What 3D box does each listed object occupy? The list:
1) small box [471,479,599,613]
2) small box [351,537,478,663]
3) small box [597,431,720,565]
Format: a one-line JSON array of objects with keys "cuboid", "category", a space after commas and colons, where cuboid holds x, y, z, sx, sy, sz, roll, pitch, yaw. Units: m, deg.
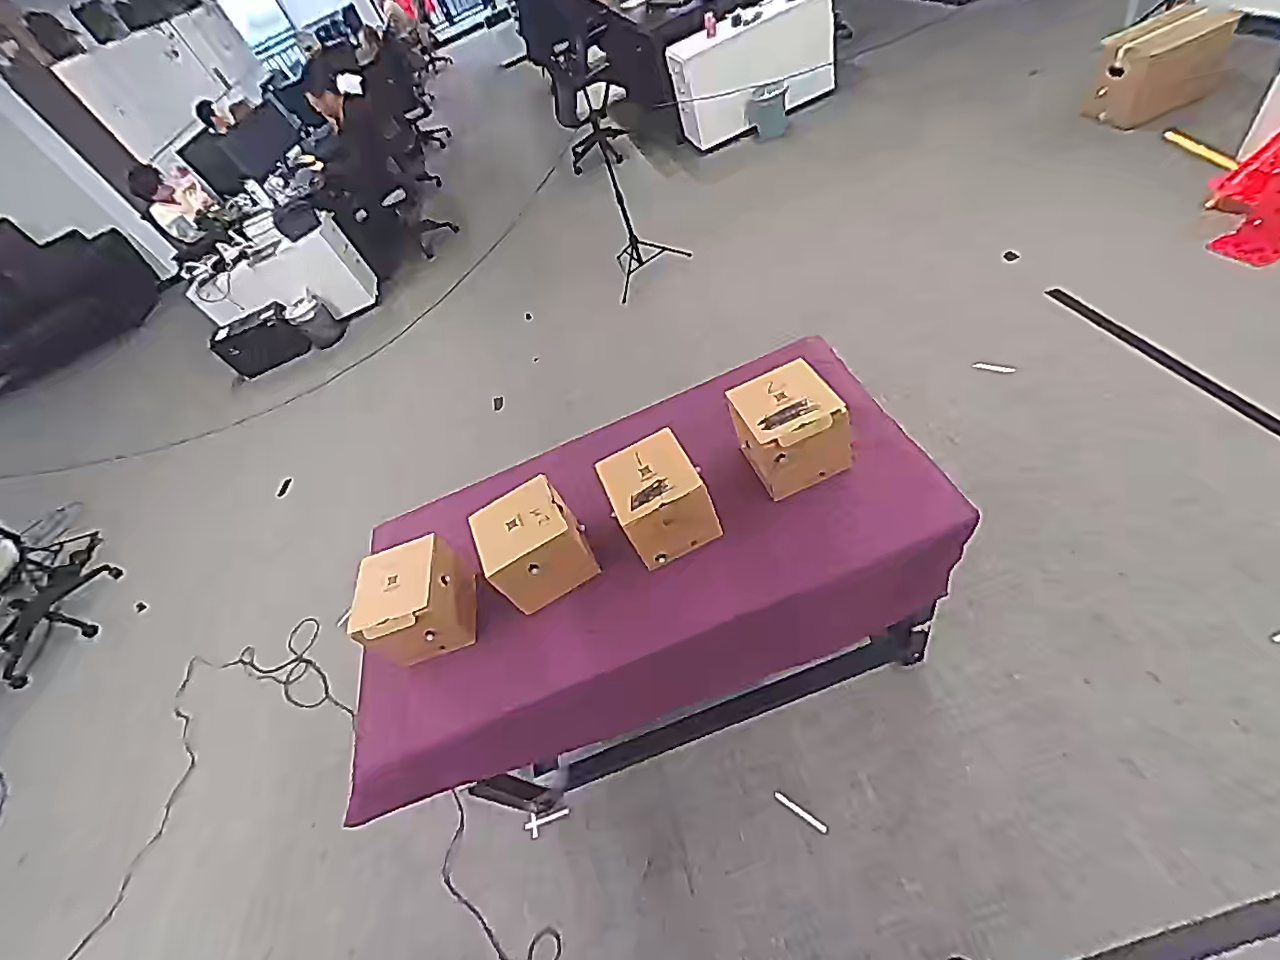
[{"cuboid": [-0.208, 0.137, 1.087, 0.179, 0.176, 0.168, -30, 48, -3], "category": "small box"}, {"cuboid": [-0.443, 0.251, 1.093, 0.168, 0.176, 0.179, -19, 47, 6], "category": "small box"}, {"cuboid": [0.039, 0.044, 1.062, 0.168, 0.176, 0.179, -27, 47, 0], "category": "small box"}]
